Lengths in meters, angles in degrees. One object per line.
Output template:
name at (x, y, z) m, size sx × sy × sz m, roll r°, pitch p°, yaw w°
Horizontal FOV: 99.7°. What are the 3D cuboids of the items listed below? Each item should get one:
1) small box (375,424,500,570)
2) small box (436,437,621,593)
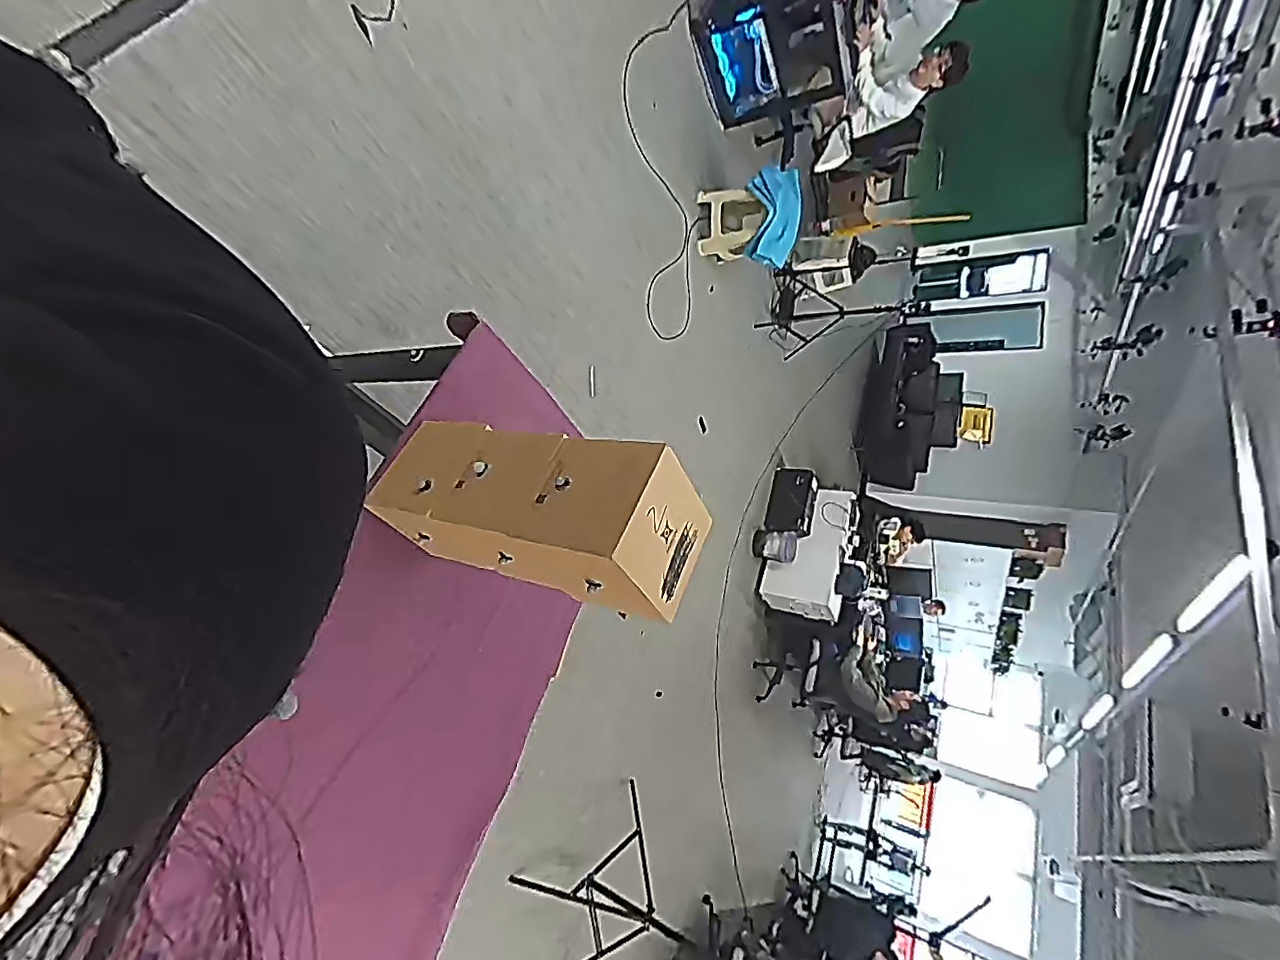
small box at (-0.302, 0.024, 0.899) m, size 0.168 × 0.176 × 0.179 m, roll 56°, pitch 49°, yaw -45°
small box at (-0.163, 0.046, 0.815) m, size 0.179 × 0.176 × 0.168 m, roll 54°, pitch 51°, yaw -44°
